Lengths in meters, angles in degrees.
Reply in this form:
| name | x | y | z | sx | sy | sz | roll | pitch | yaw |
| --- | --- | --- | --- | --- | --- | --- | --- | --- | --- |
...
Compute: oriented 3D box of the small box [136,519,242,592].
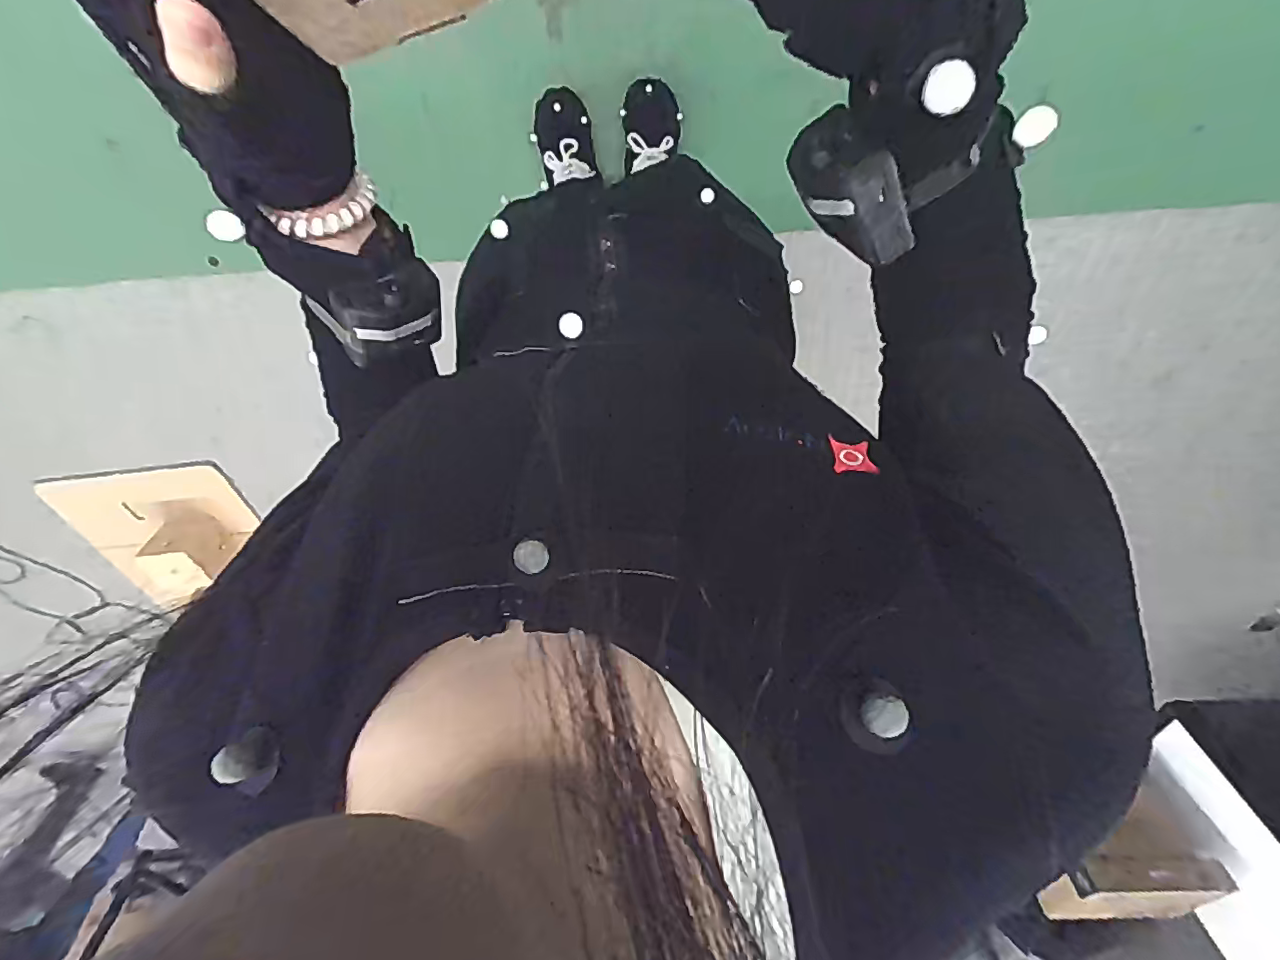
| name | x | y | z | sx | sy | sz | roll | pitch | yaw |
| --- | --- | --- | --- | --- | --- | --- | --- | --- | --- |
| small box | -1.490 | 0.249 | 1.800 | 0.179 | 0.176 | 0.168 | -8 | 129 | 3 |
